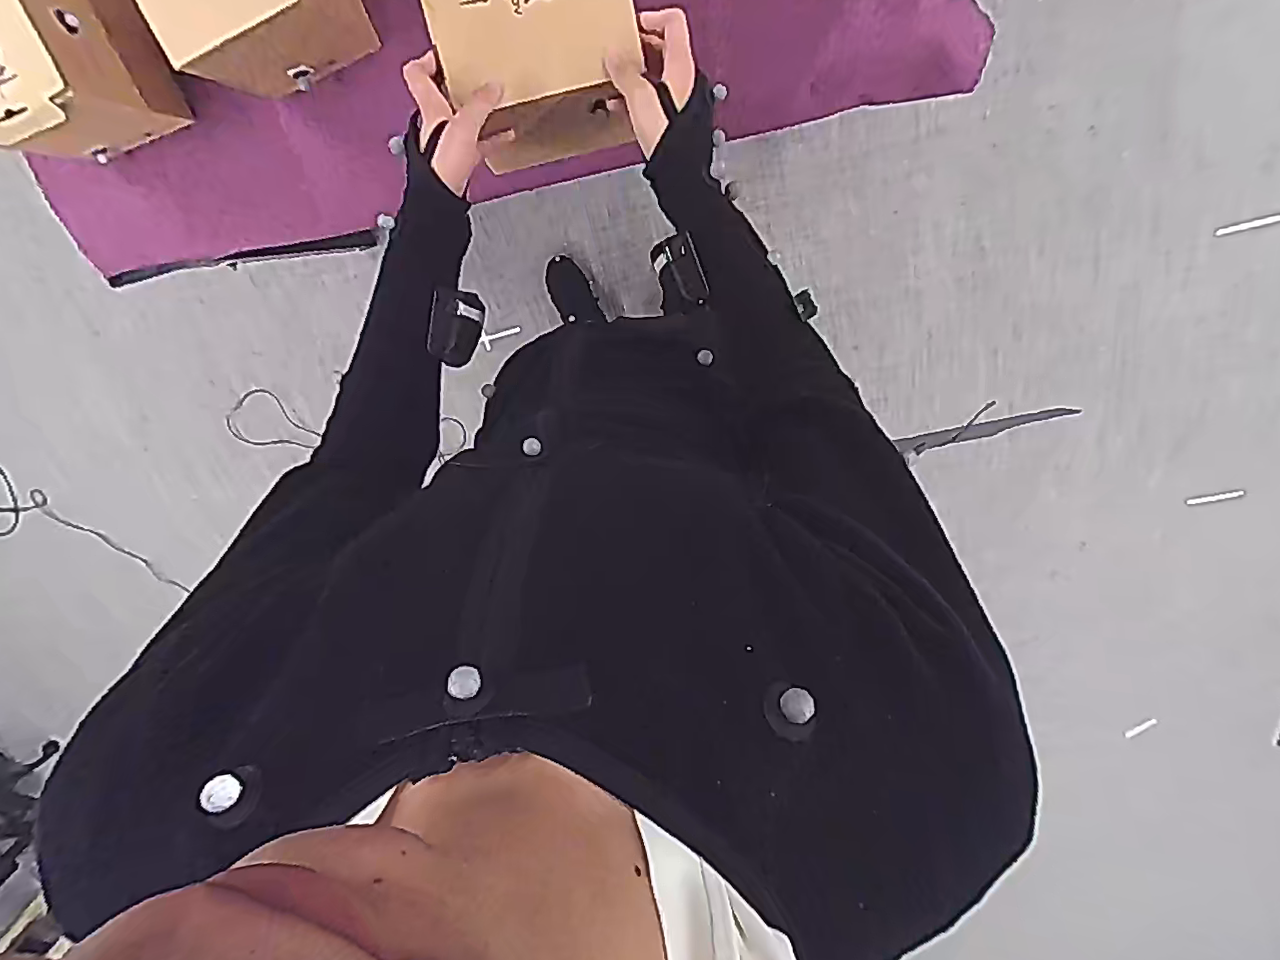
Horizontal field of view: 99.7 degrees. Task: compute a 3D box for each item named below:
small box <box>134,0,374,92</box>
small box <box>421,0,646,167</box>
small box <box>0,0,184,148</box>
[{"bbox_3d":[-0.436,-0.566,0.589,0.168,0.176,0.179,-16,114,12],"label":"small box"},{"bbox_3d":[-0.099,-0.432,0.526,0.179,0.176,0.168,-13,105,2],"label":"small box"},{"bbox_3d":[-0.702,-0.508,0.629,0.168,0.176,0.179,-14,113,9],"label":"small box"}]
